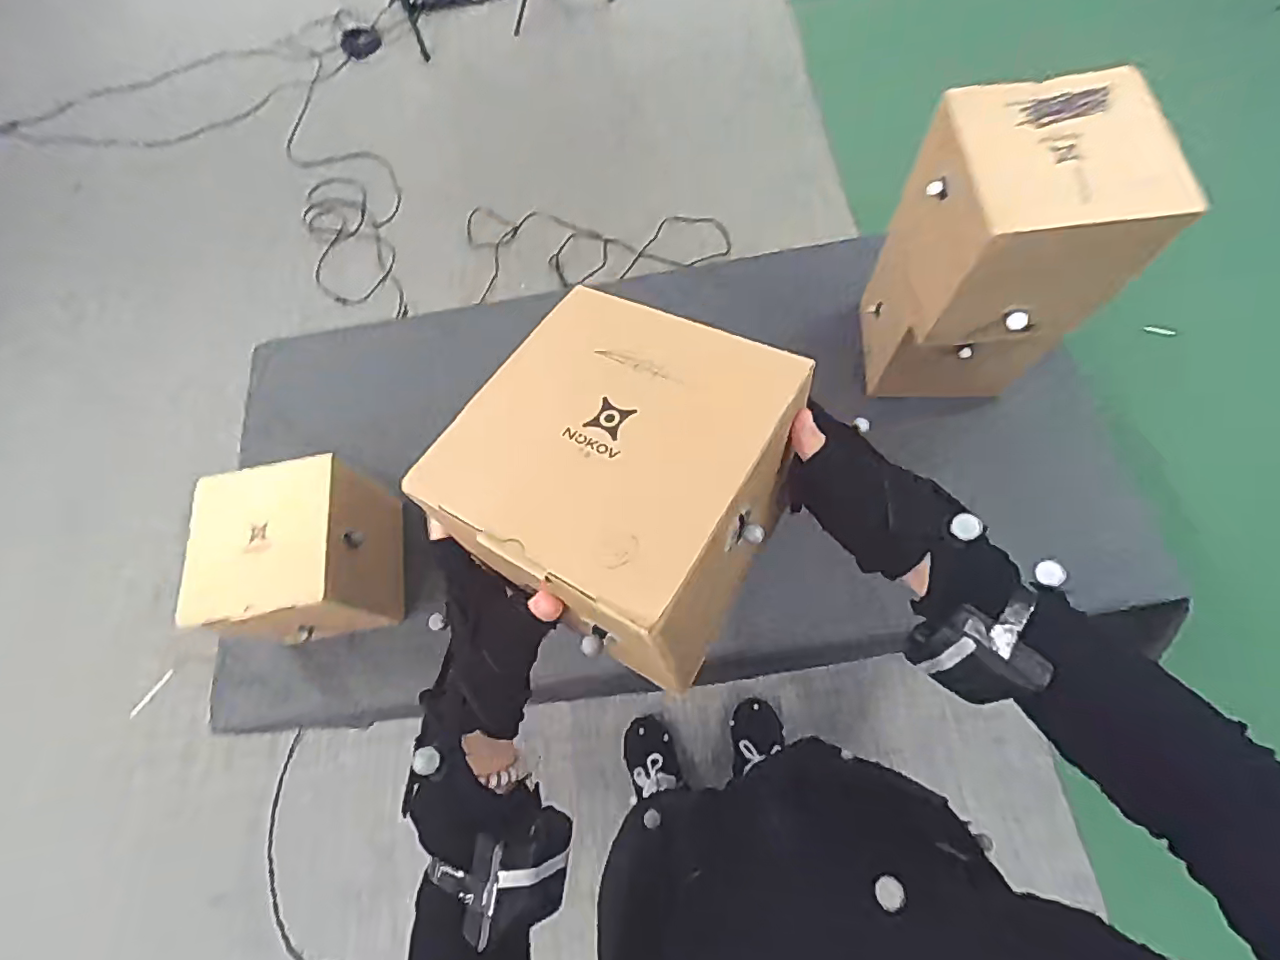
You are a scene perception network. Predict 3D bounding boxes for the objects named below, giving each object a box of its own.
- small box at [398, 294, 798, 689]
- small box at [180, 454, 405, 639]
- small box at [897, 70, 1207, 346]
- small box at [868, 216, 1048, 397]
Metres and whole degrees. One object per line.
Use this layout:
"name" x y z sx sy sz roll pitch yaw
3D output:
"small box" -0.010 0.014 0.363 0.168 0.176 0.179 24 67 22
"small box" -0.411 0.091 0.675 0.168 0.176 0.179 -11 68 2
"small box" 0.377 -0.259 0.541 0.168 0.176 0.179 -4 70 6
"small box" 0.404 -0.218 0.699 0.179 0.176 0.168 2 70 8
